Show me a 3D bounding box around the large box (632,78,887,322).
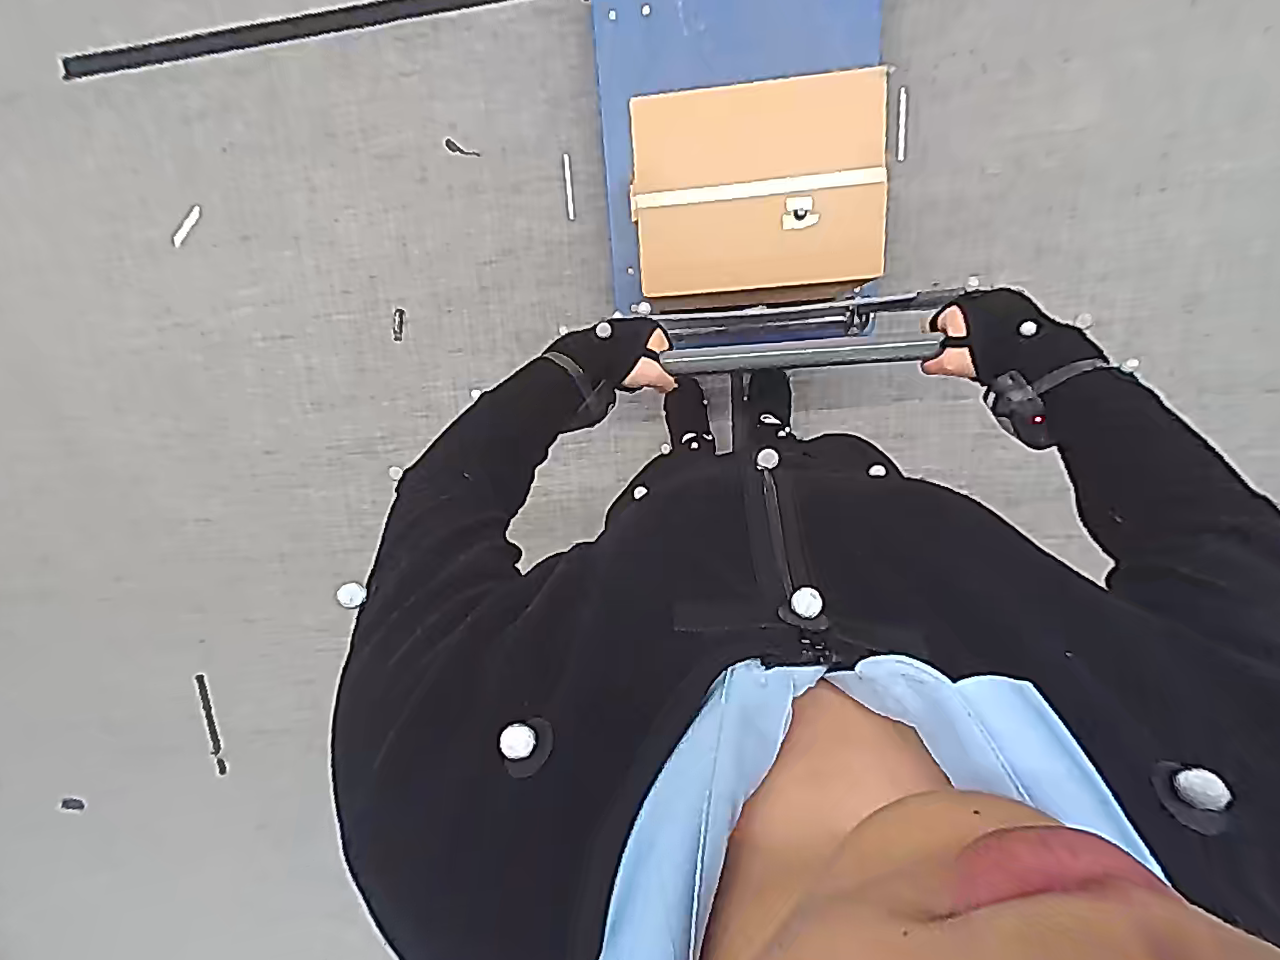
[{"bbox_3d":[0.207,-0.487,1.025,0.408,0.320,0.320,-3,103,6],"label":"large box"}]
